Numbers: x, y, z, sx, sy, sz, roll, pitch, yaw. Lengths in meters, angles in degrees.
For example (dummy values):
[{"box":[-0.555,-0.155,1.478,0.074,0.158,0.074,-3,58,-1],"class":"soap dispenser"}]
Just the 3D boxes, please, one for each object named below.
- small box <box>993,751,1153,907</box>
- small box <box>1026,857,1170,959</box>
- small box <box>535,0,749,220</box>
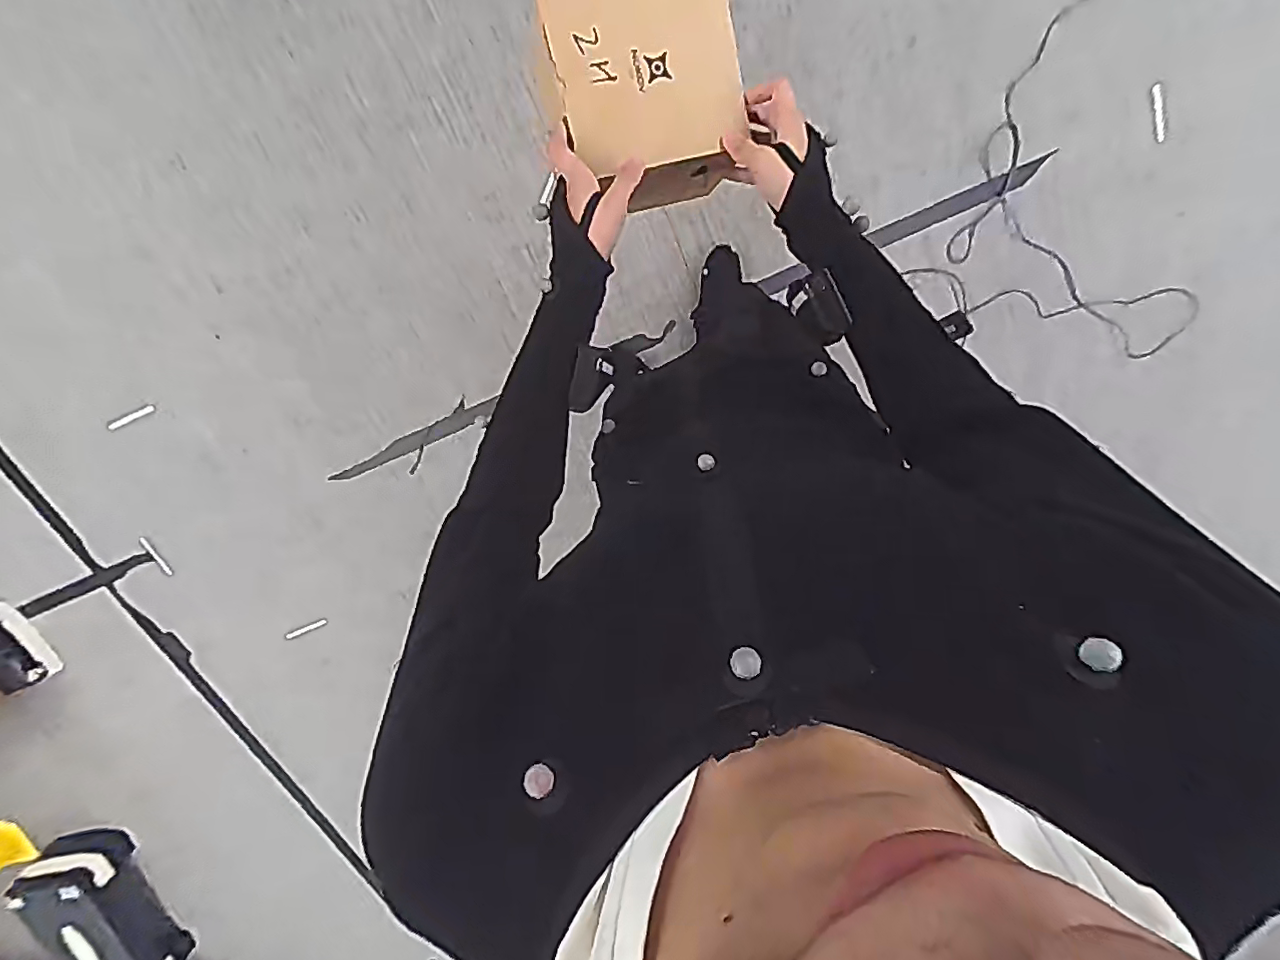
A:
[{"box":[0.847,0.683,1.071,0.168,0.176,0.179,-28,108,6],"class":"small box"},{"box":[0.968,0.925,1.152,0.168,0.176,0.179,-21,107,6],"class":"small box"},{"box":[-0.006,-0.397,0.575,0.179,0.176,0.168,-15,104,-4],"class":"small box"}]
